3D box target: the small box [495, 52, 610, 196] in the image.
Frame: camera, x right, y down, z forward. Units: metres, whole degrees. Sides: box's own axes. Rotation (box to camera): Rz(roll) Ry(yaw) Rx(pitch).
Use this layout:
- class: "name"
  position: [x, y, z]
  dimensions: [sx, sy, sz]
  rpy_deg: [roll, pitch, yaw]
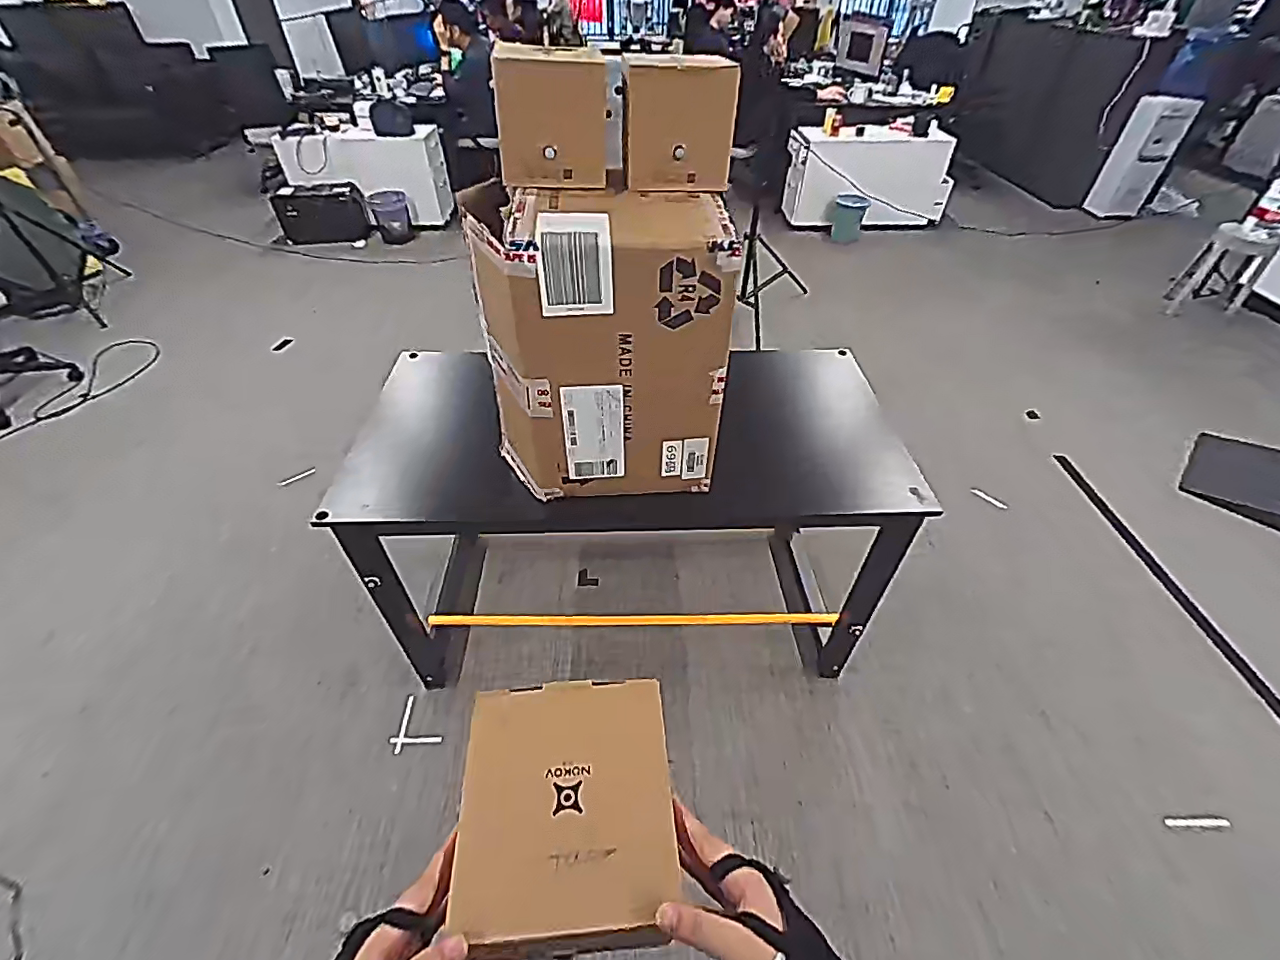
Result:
- class: "small box"
  position: [-0.139, -0.582, 0.884]
  dimensions: [0.168, 0.176, 0.179]
  rpy_deg: [-3, 42, -7]

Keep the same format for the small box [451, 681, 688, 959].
- class: "small box"
  position: [-0.056, 0.304, 0.484]
  dimensions: [0.168, 0.176, 0.179]
  rpy_deg: [-3, 45, -4]

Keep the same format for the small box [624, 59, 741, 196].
- class: "small box"
  position: [0.059, -0.588, 0.900]
  dimensions: [0.168, 0.176, 0.179]
  rpy_deg: [-3, 42, -4]
